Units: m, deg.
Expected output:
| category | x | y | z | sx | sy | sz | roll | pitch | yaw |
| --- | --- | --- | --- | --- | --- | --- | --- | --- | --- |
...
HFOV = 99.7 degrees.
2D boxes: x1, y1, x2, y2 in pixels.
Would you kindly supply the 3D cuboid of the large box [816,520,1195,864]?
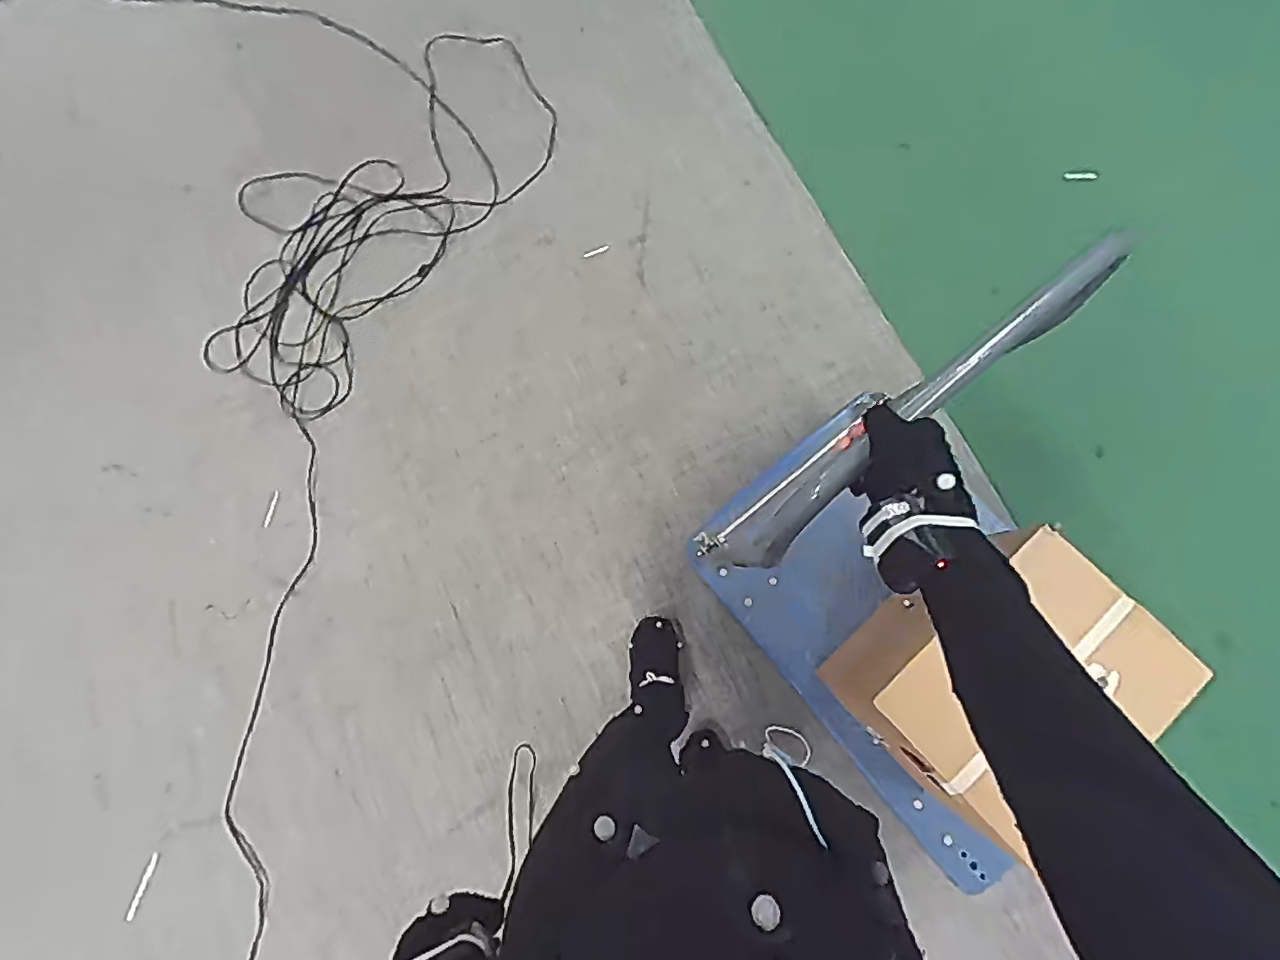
| category | x | y | z | sx | sy | sz | roll | pitch | yaw |
| --- | --- | --- | --- | --- | --- | --- | --- | --- | --- |
| large box | 0.591 | 0.335 | 0.954 | 0.408 | 0.320 | 0.320 | -43 | 81 | -7 |
